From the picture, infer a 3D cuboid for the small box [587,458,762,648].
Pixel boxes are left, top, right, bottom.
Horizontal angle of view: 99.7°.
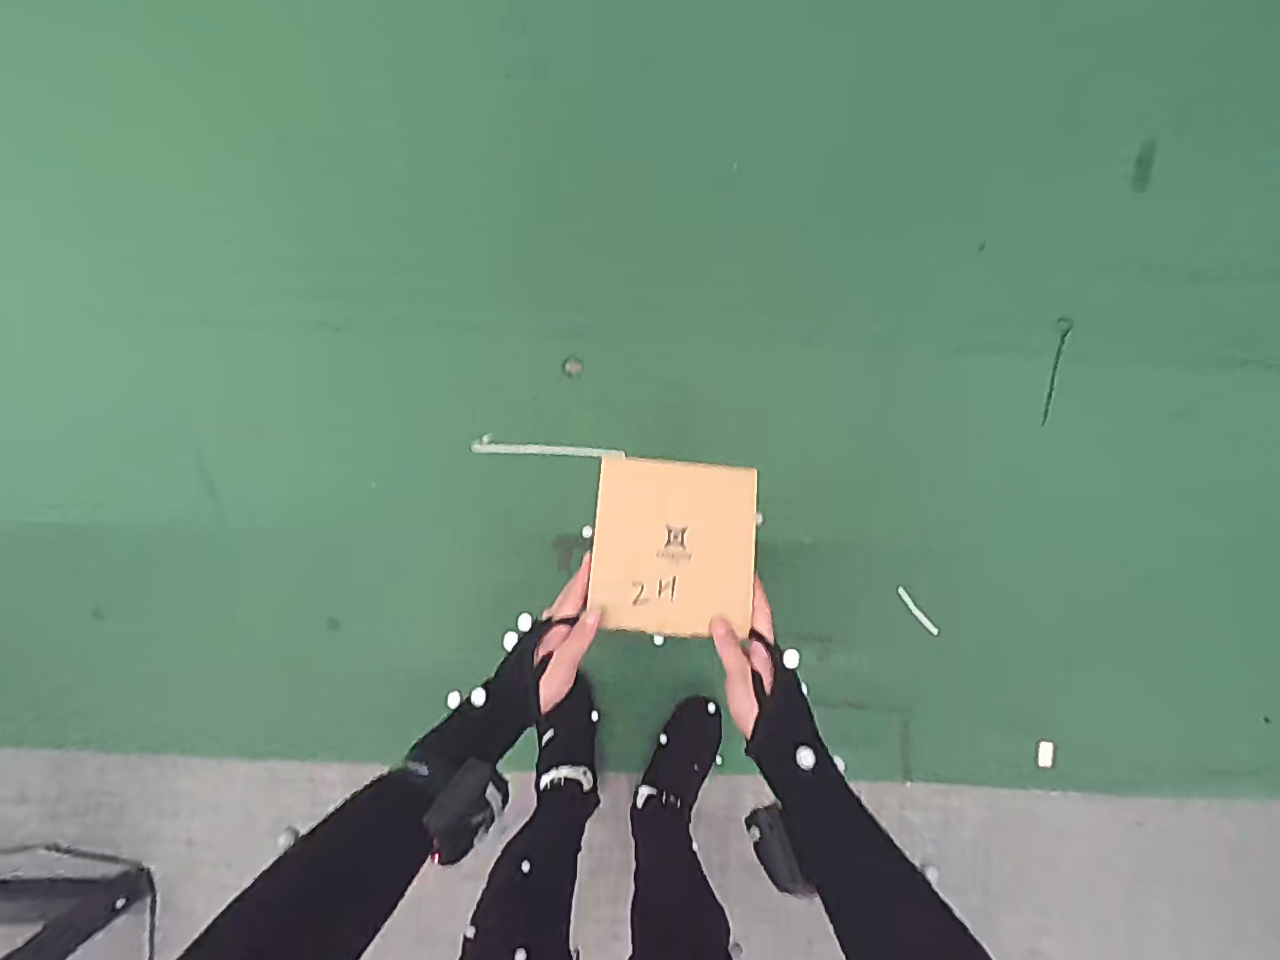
[{"bbox_3d":[0.034,0.087,0.613,0.168,0.176,0.179,6,78,-1],"label":"small box"}]
